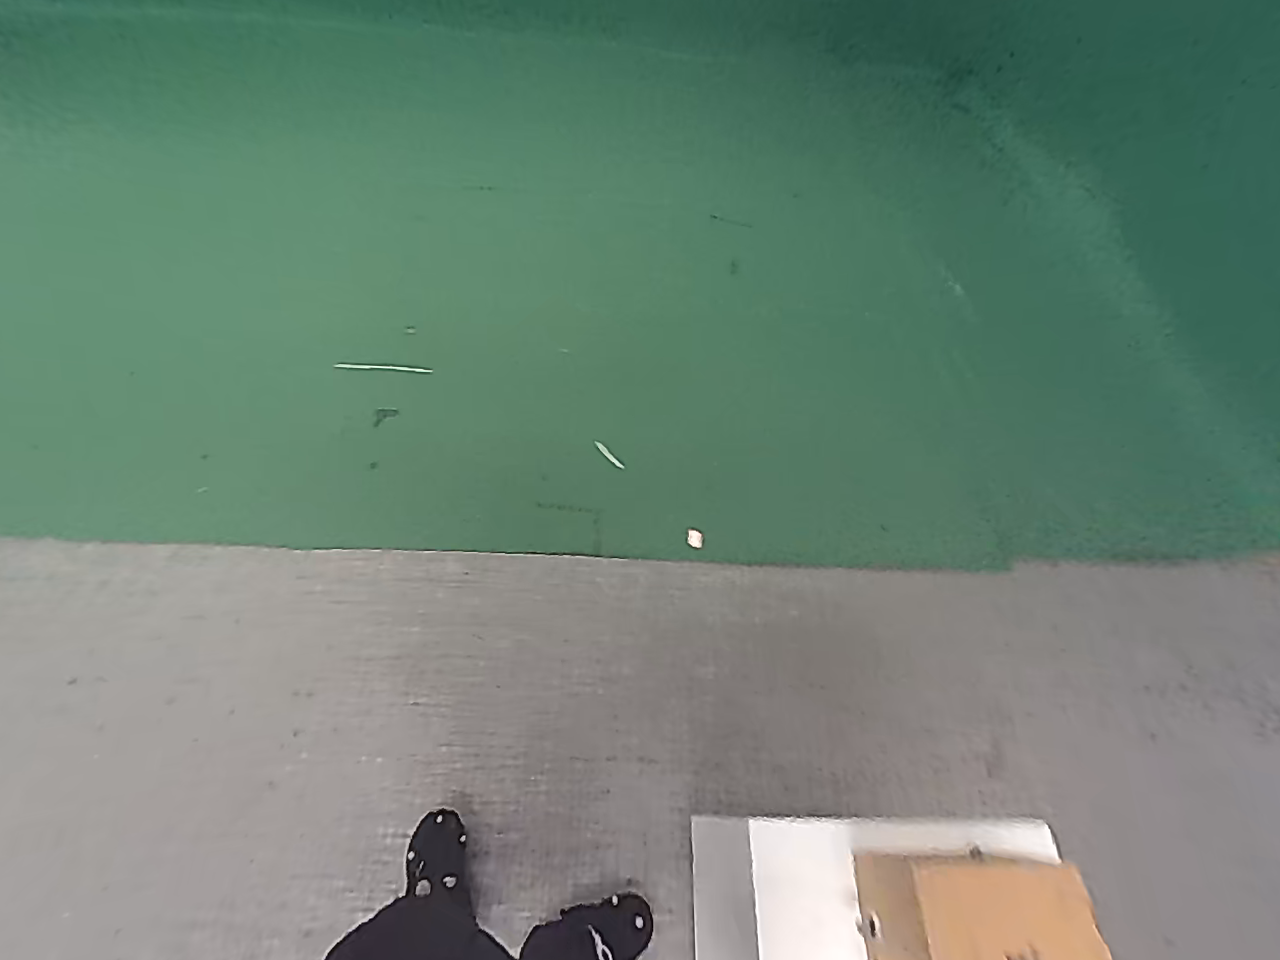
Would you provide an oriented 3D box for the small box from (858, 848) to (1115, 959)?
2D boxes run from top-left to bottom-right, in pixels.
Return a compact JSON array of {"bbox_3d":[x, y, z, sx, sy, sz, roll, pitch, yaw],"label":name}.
[{"bbox_3d":[0.359,0.495,0.571,0.179,0.176,0.168,-1,59,-1],"label":"small box"}]
